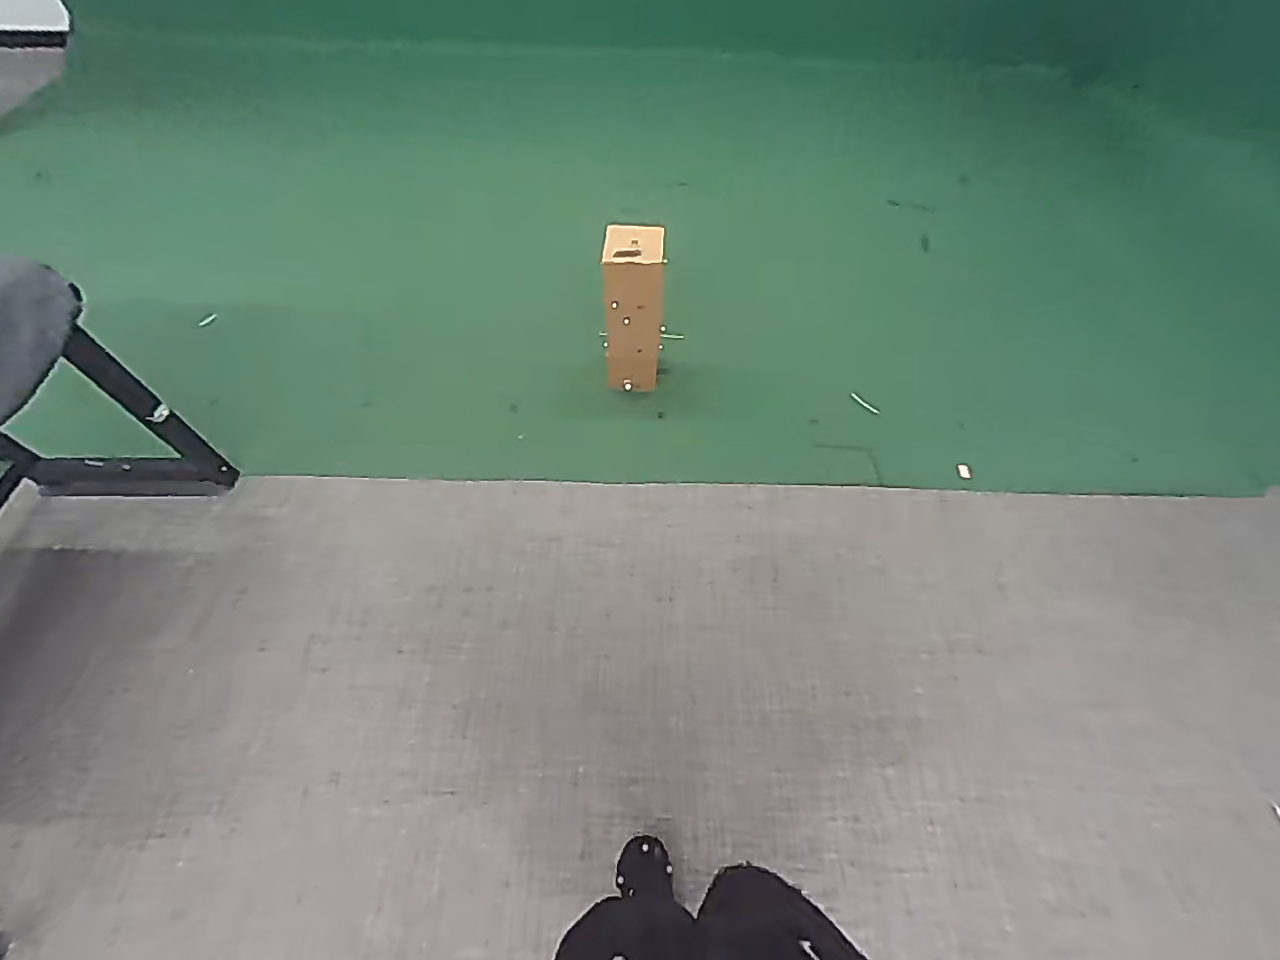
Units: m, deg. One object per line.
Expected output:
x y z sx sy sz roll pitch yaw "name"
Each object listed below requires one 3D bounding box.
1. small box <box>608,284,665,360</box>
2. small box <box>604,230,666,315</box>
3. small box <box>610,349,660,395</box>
-0.009 -0.507 1.713 0.168 0.176 0.179 3 56 2 "small box"
-0.012 -0.603 1.579 0.168 0.176 0.179 3 56 2 "small box"
-0.014 -0.413 1.847 0.168 0.176 0.179 2 58 2 "small box"
